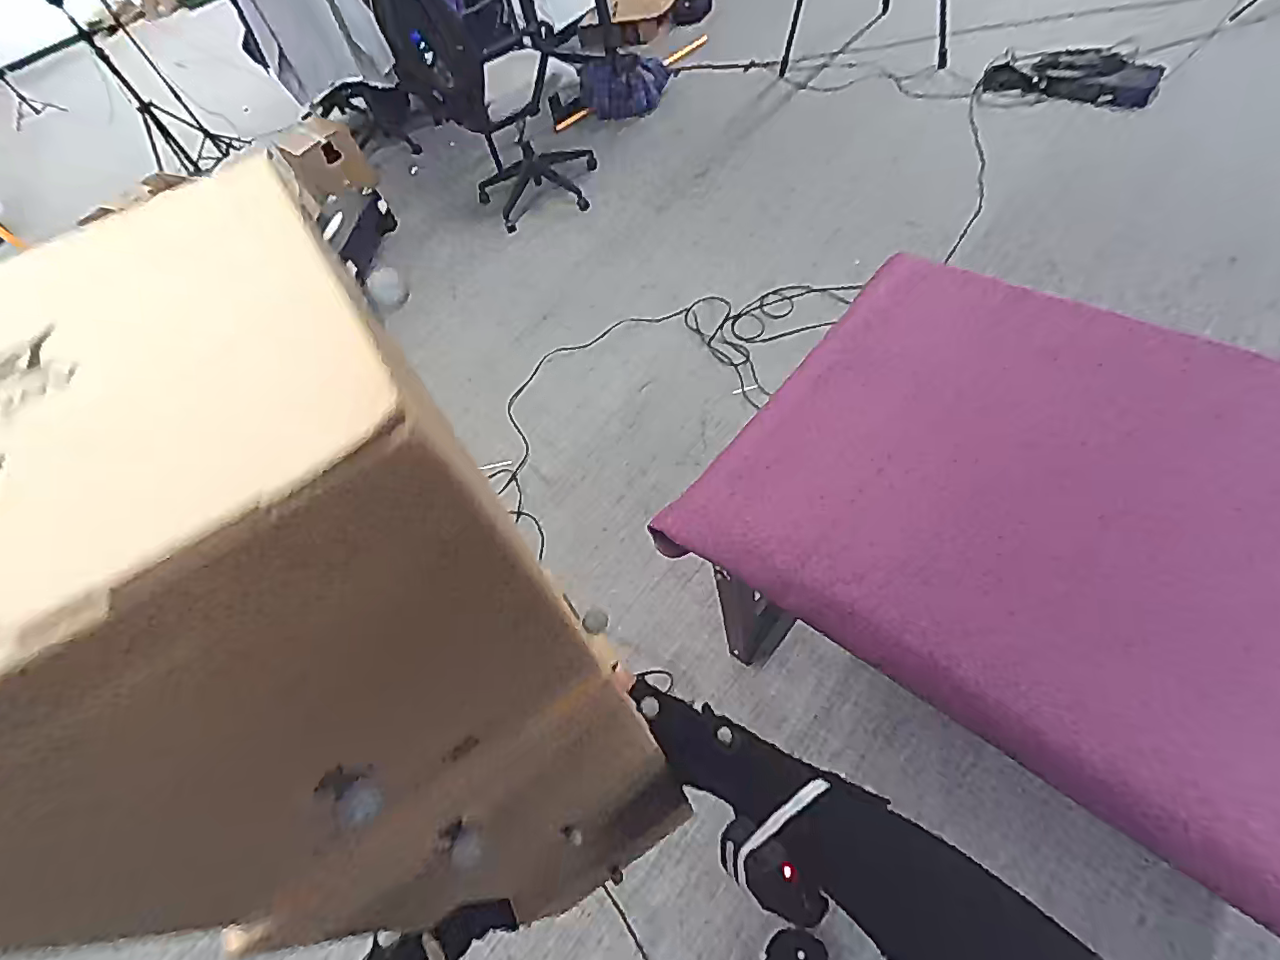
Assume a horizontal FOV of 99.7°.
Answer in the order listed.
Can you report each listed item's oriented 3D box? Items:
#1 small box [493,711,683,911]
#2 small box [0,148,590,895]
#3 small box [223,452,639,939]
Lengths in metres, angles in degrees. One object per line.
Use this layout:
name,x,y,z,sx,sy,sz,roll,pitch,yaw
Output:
small box,-0.067,0.318,0.585,0.179,0.176,0.168,-29,56,-12
small box,-0.140,0.019,0.201,0.168,0.176,0.179,-32,57,-12
small box,-0.113,0.121,0.328,0.179,0.176,0.168,-32,57,-12
